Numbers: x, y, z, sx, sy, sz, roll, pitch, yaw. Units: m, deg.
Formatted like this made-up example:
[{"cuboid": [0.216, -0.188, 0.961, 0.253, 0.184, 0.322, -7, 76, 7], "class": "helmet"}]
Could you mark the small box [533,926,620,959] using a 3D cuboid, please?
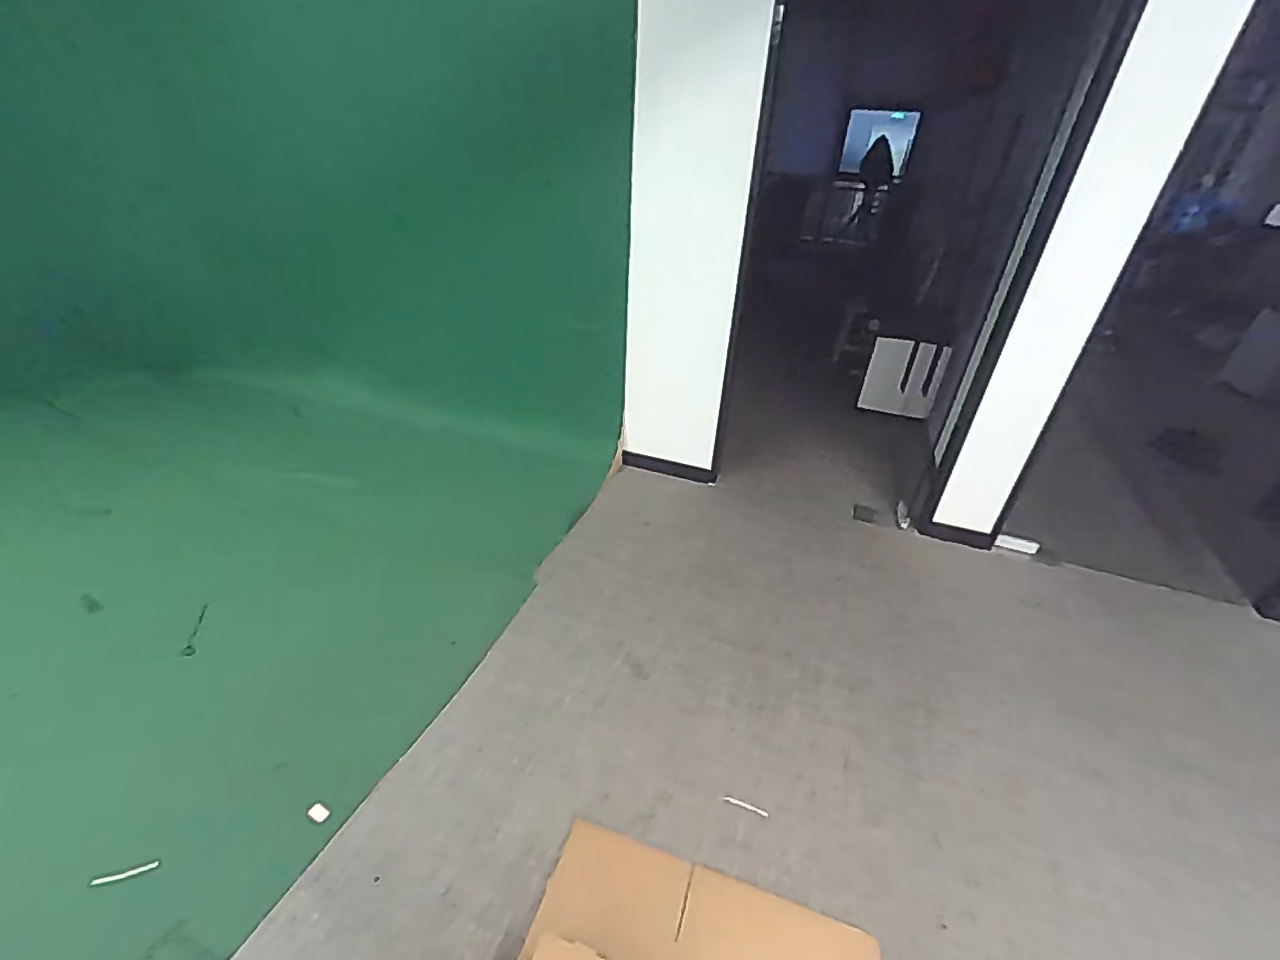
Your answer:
[{"cuboid": [-0.127, 0.939, 0.939, 0.168, 0.176, 0.179, 12, 34, 15], "class": "small box"}]
